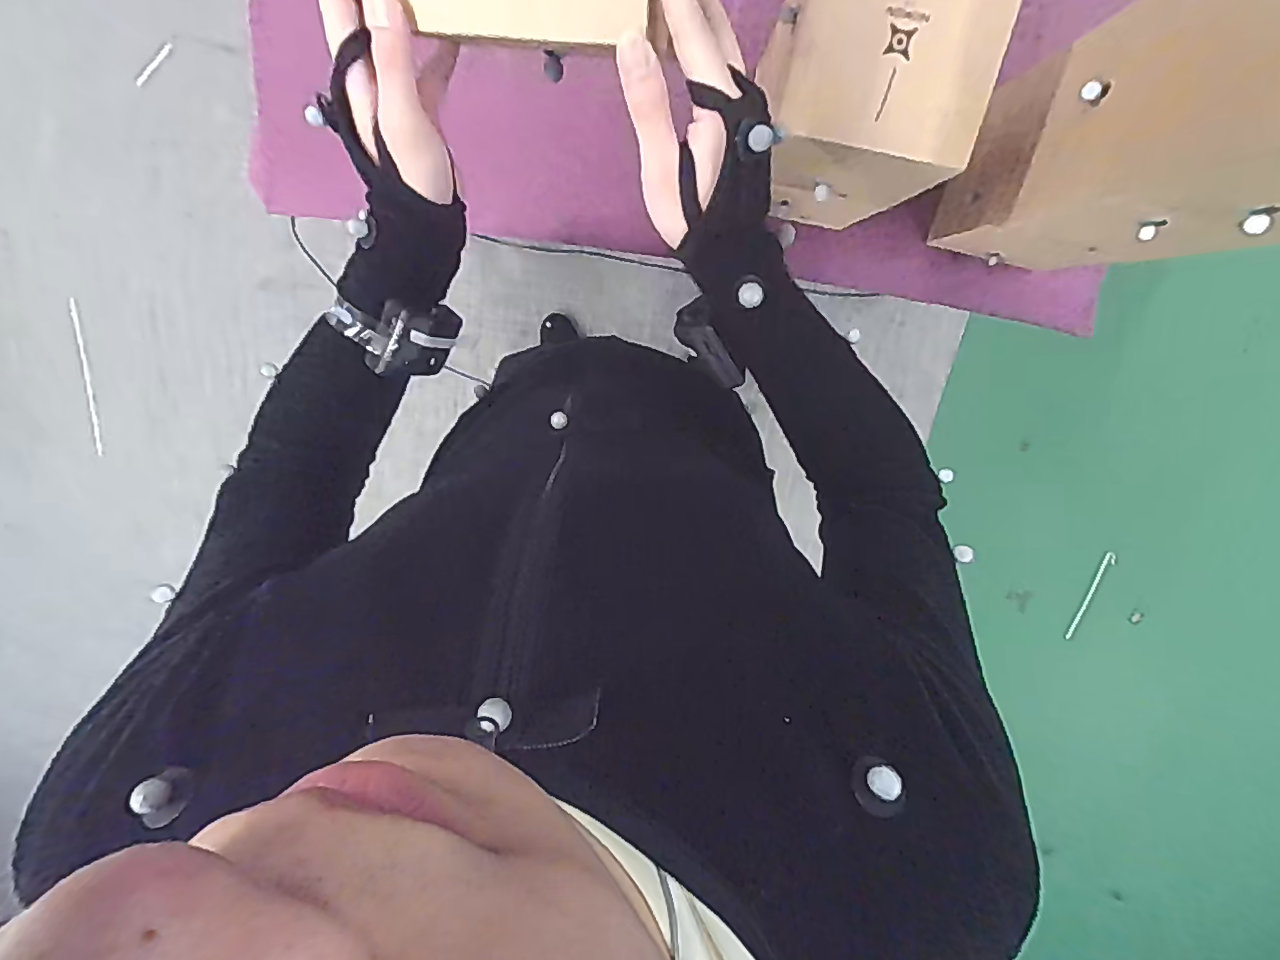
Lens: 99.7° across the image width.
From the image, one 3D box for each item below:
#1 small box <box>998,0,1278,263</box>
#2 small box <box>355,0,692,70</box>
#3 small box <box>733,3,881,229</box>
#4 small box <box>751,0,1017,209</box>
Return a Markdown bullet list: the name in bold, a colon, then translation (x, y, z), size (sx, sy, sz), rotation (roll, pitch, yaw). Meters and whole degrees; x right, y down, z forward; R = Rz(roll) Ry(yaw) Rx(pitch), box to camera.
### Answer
- **small box**: translation (0.486, -0.320, 0.509), size (0.168, 0.176, 0.179), rotation (14, 107, -1)
- **small box**: translation (-0.056, -0.357, 0.313), size (0.168, 0.176, 0.179), rotation (11, 127, 9)
- **small box**: translation (0.216, -0.423, 0.664), size (0.168, 0.176, 0.179), rotation (11, 106, 0)
- **small box**: translation (0.210, -0.378, 0.507), size (0.168, 0.176, 0.179), rotation (12, 107, 0)
